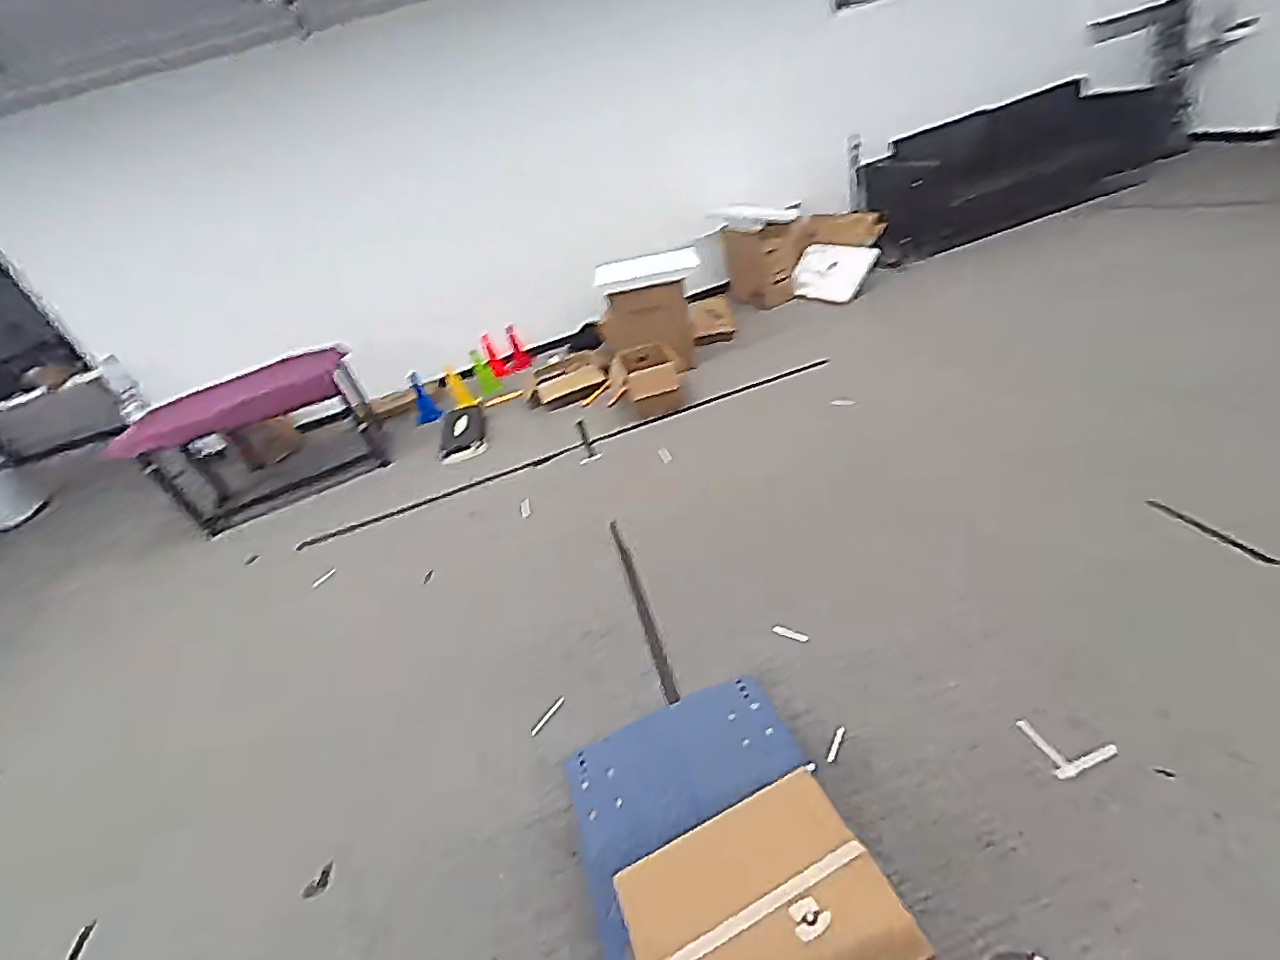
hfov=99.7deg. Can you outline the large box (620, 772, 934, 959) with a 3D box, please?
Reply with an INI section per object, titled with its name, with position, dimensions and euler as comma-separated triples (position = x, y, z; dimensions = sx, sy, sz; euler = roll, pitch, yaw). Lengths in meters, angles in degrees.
[large box]
position = 0.228, 0.819, 0.945
dimensions = 0.408, 0.320, 0.320
euler = -22, 34, -12
